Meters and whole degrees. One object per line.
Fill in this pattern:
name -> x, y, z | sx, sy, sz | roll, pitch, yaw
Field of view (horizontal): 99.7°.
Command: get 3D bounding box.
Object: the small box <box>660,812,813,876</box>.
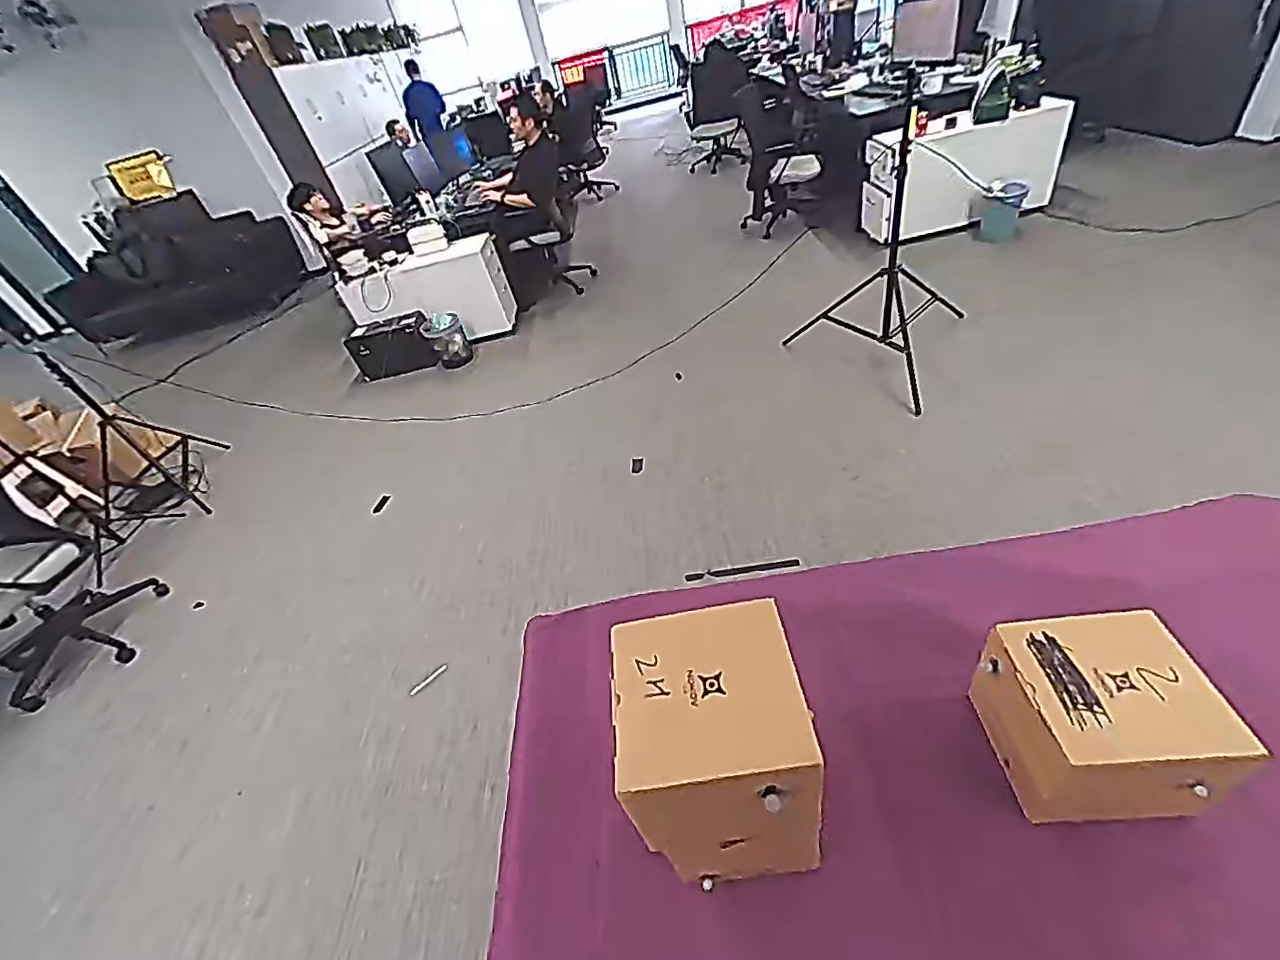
small box -> 0.112, 0.365, 0.668 | 0.168, 0.176, 0.179 | -11, 40, 5

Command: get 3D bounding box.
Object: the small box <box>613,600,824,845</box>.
small box -> 0.075, 0.250, 0.555 | 0.179, 0.176, 0.168 | -11, 40, 5
